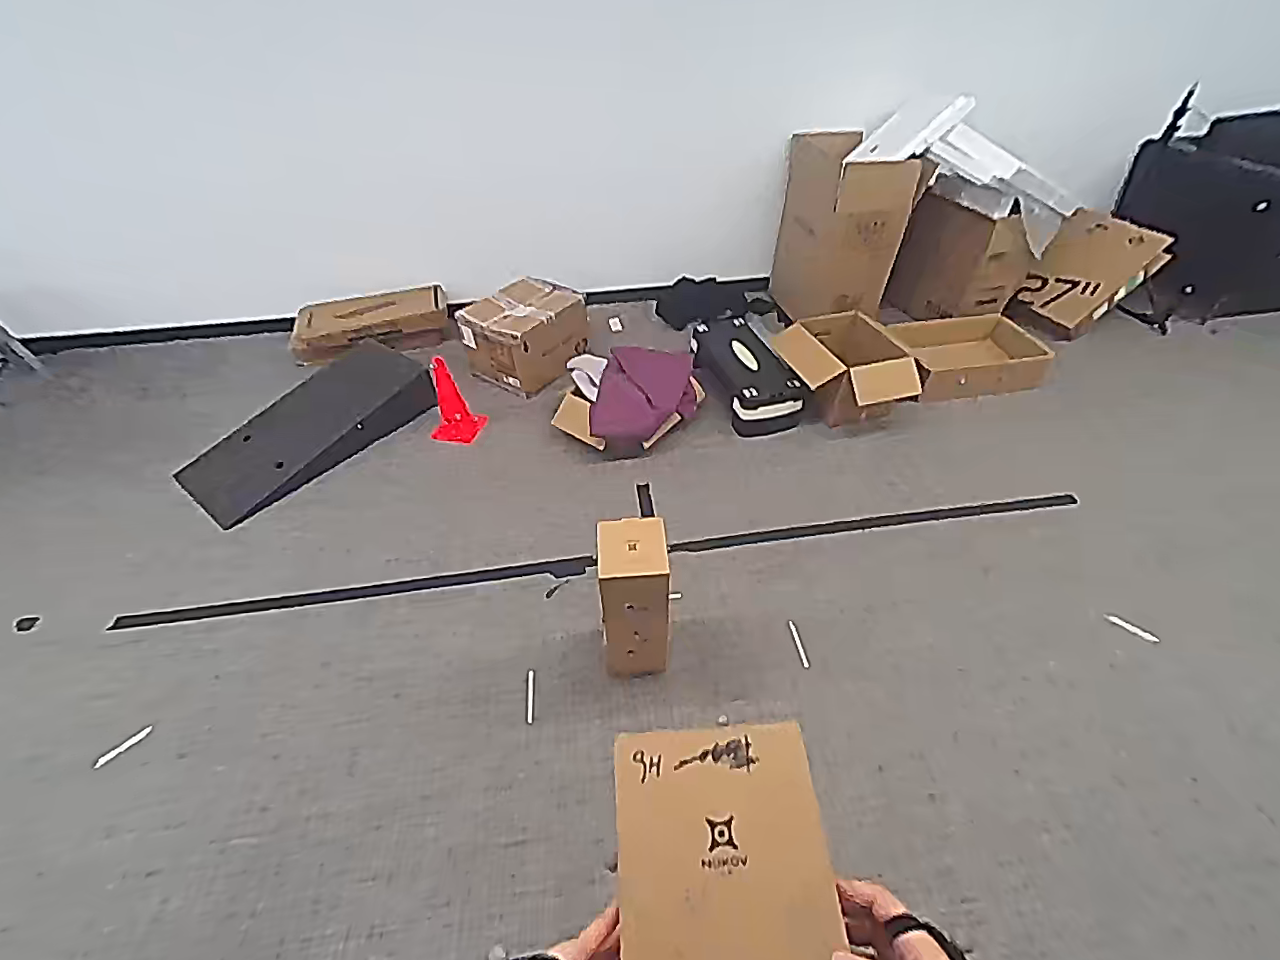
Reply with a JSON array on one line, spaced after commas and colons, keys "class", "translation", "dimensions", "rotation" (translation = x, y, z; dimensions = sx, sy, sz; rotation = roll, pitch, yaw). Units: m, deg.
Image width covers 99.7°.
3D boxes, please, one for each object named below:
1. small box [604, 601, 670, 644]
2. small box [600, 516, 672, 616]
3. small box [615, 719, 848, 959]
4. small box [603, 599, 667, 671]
[{"class": "small box", "translation": [-0.011, 0.318, 1.458], "dimensions": [0.168, 0.176, 0.179], "rotation": [-4, 45, -2]}, {"class": "small box", "translation": [-0.012, 0.212, 1.334], "dimensions": [0.168, 0.176, 0.179], "rotation": [-4, 46, -2]}, {"class": "small box", "translation": [0.065, 0.329, 0.489], "dimensions": [0.168, 0.176, 0.179], "rotation": [-3, 55, -1]}, {"class": "small box", "translation": [-0.014, 0.440, 1.569], "dimensions": [0.179, 0.176, 0.168], "rotation": [-3, 45, -2]}]
